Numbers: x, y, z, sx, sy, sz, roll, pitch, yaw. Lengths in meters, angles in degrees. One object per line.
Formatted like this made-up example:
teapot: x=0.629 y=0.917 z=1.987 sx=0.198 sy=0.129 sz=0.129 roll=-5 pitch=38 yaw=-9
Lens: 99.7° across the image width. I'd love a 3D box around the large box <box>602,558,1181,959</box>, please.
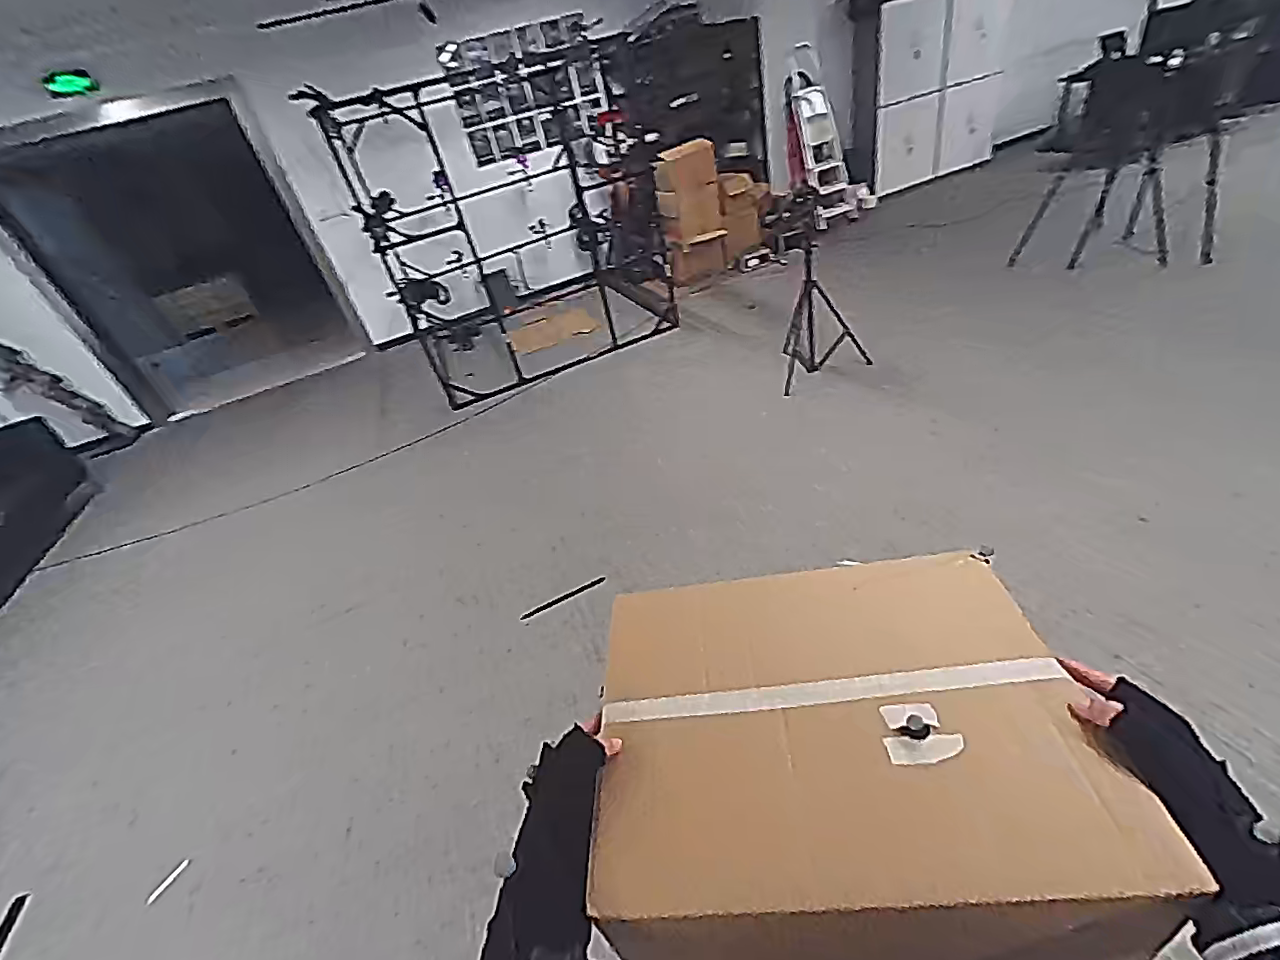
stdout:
large box: x=0.197 y=0.322 z=0.582 sx=0.408 sy=0.320 sz=0.320 roll=-8 pitch=34 yaw=9
